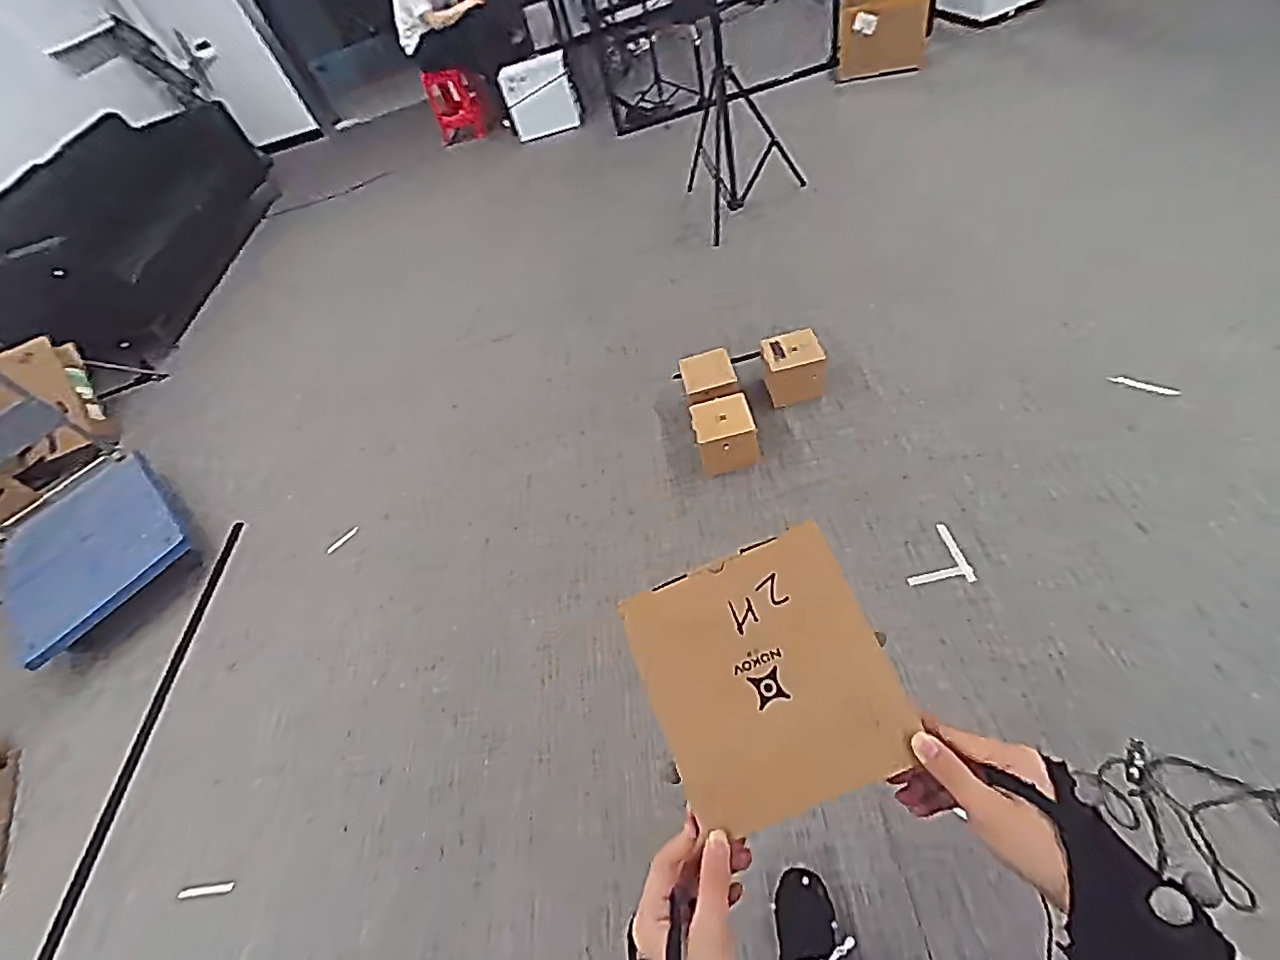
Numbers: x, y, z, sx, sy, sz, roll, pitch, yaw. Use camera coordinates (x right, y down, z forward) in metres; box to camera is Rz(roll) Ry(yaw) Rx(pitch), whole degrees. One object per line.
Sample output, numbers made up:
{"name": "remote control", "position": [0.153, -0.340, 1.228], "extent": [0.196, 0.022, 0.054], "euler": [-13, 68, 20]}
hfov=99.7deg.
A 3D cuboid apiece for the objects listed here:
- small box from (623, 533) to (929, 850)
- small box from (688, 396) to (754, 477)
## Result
{"name": "small box", "position": [0.103, 0.167, 0.462], "extent": [0.168, 0.176, 0.179], "euler": [-23, 70, 2]}
{"name": "small box", "position": [0.262, -0.135, 1.722], "extent": [0.179, 0.176, 0.168], "euler": [-14, 51, 7]}
